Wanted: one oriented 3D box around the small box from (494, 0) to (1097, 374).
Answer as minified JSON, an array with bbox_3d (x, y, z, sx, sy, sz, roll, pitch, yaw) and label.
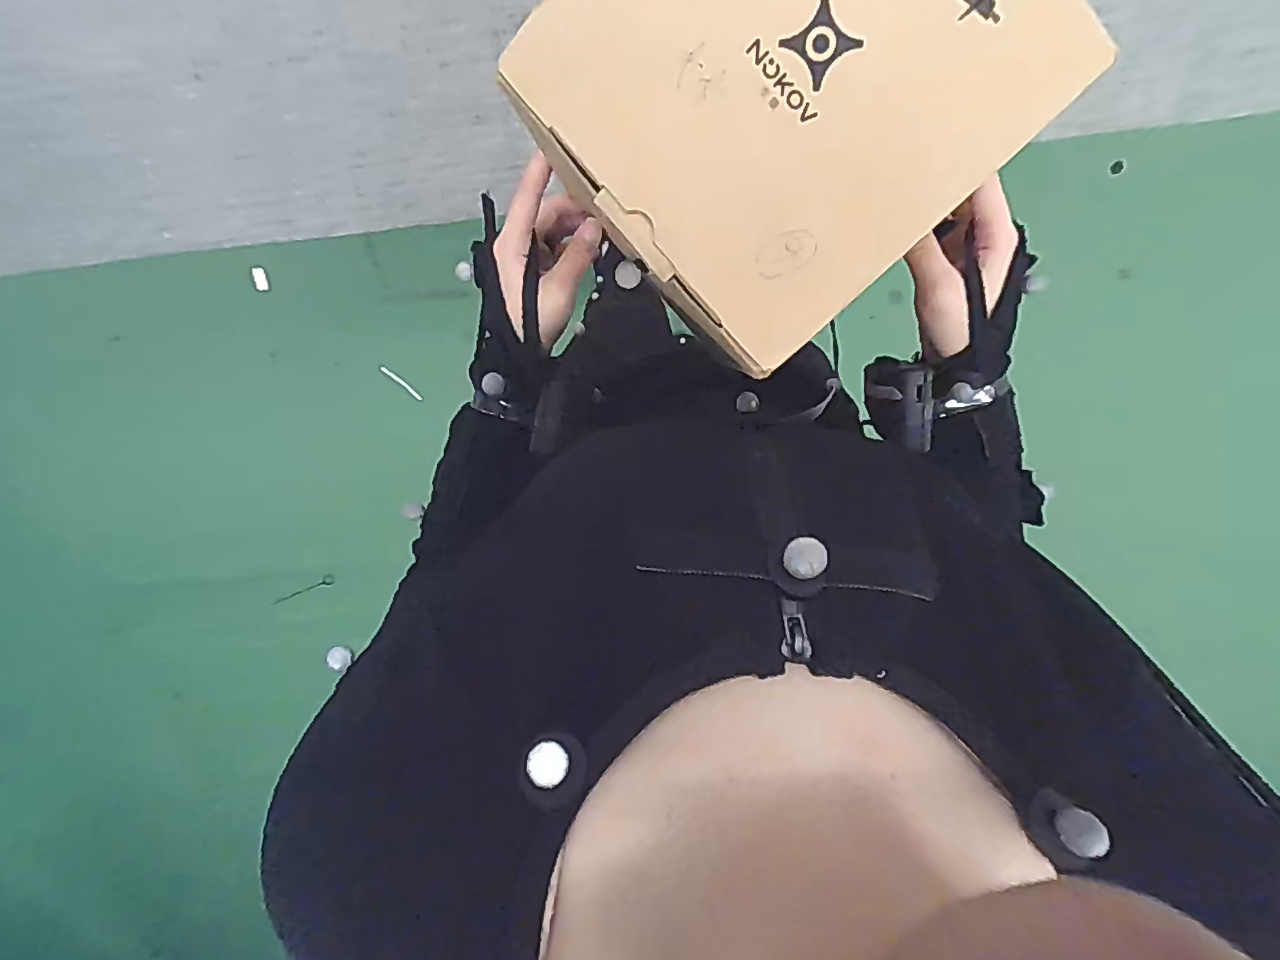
[{"bbox_3d":[0.061,-0.177,0.287,0.179,0.176,0.168,-41,99,12],"label":"small box"}]
